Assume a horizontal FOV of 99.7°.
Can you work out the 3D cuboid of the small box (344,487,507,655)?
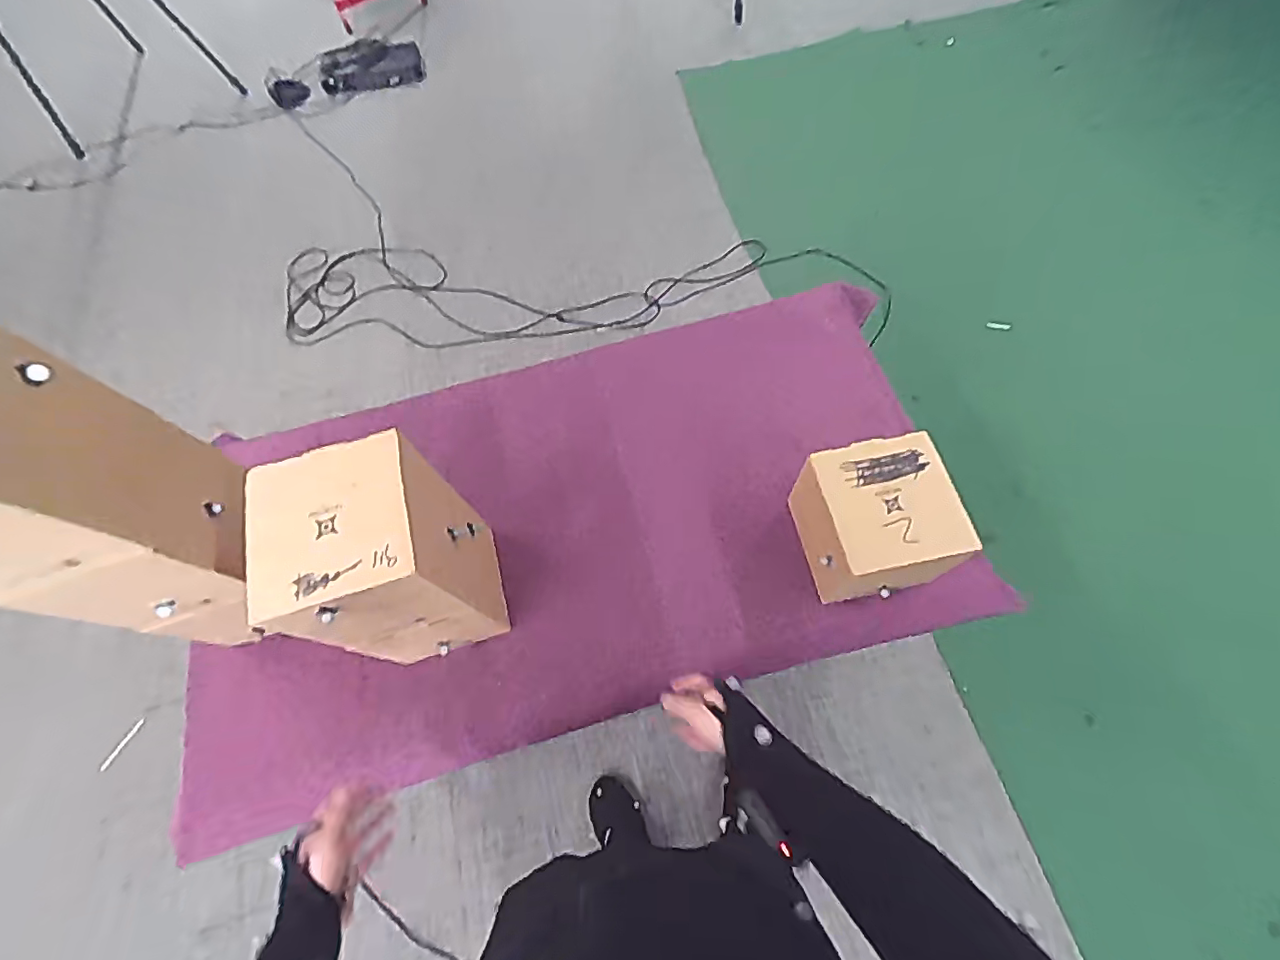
[{"bbox_3d":[-0.305,0.138,0.780,0.168,0.176,0.179,-17,67,-3],"label":"small box"}]

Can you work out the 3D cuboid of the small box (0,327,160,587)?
[{"bbox_3d":[-0.604,-0.010,0.509,0.168,0.176,0.179,-19,66,-3],"label":"small box"}]

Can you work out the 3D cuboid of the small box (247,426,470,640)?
[{"bbox_3d":[-0.315,0.069,0.631,0.168,0.176,0.179,-17,65,-3],"label":"small box"}]

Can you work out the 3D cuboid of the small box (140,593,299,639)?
[{"bbox_3d":[-0.584,0.121,0.806,0.168,0.176,0.179,-18,67,-4],"label":"small box"}]

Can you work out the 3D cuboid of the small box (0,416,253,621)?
[{"bbox_3d":[-0.594,0.054,0.658,0.168,0.176,0.179,-18,67,-3],"label":"small box"}]
